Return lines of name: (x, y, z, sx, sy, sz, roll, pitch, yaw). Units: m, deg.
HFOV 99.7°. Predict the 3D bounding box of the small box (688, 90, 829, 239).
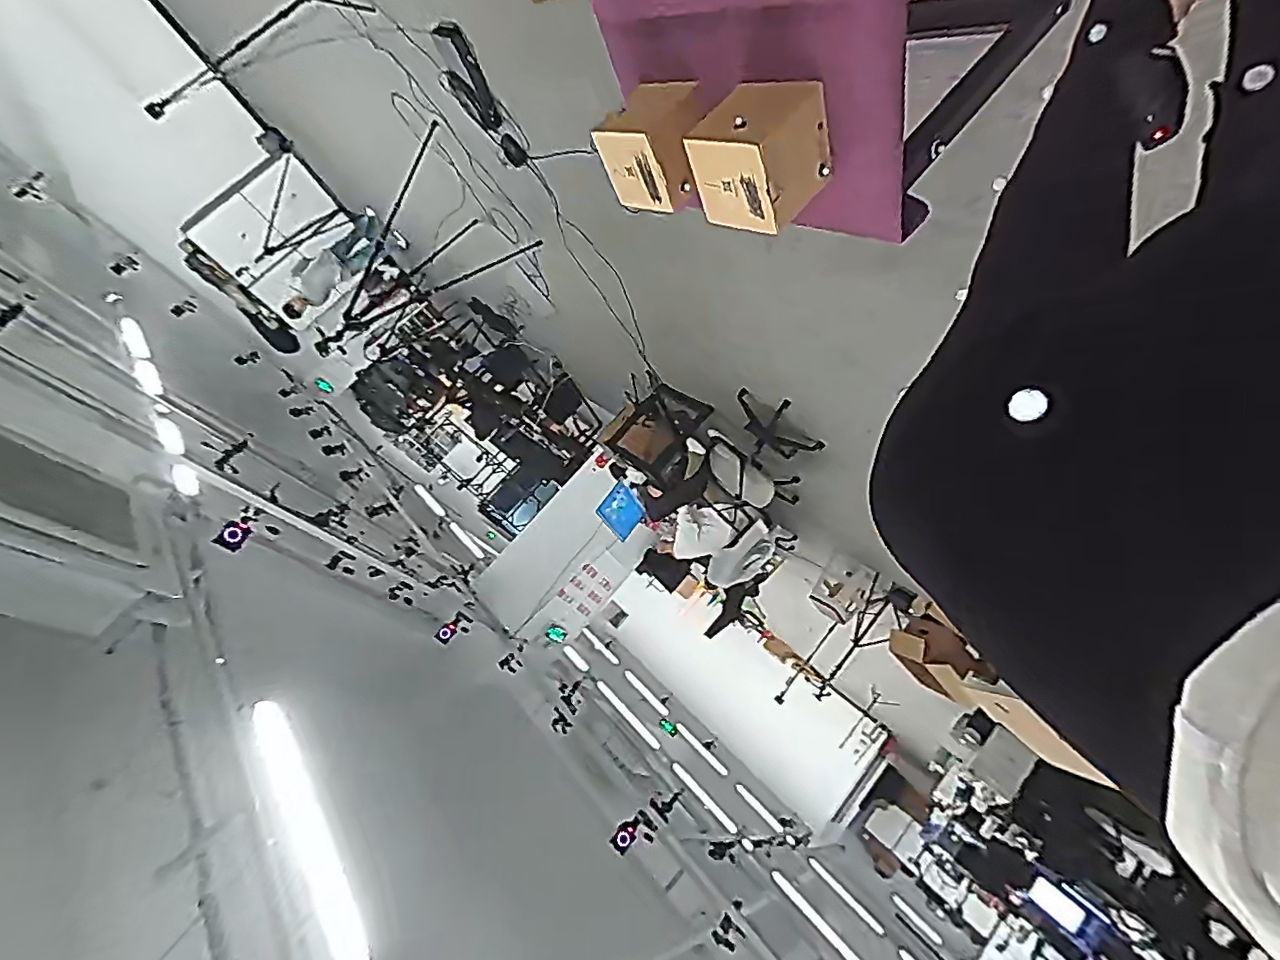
small box: (0.221, -0.569, 0.974, 0.179, 0.176, 0.168, 35, 166, 39)
